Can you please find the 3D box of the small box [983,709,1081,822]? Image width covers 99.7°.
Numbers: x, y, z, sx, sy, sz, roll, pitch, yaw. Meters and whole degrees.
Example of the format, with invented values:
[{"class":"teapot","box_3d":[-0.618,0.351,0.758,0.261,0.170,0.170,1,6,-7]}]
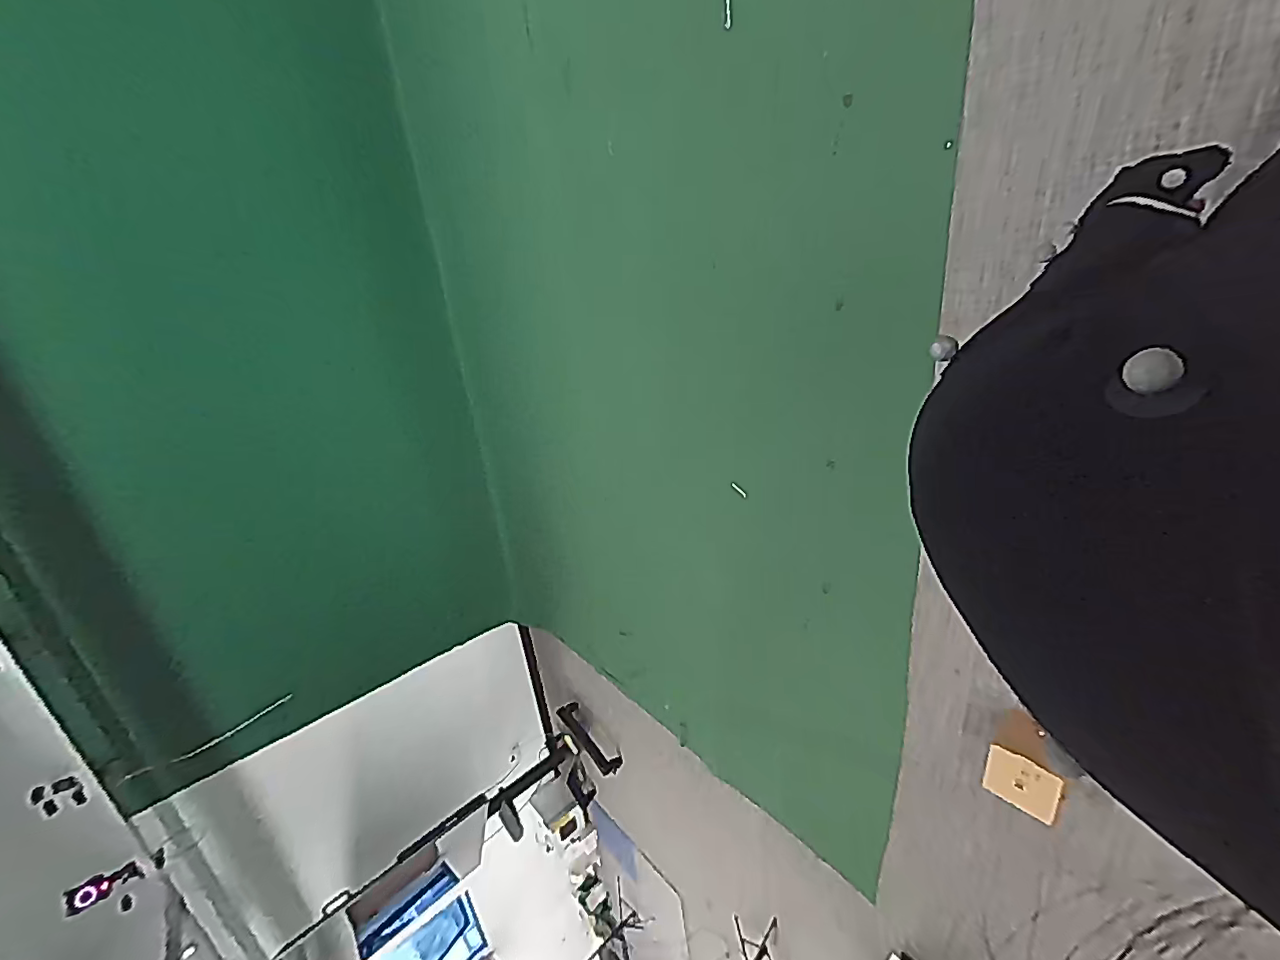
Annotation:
[{"class":"small box","box_3d":[1.078,0.776,1.487,0.168,0.176,0.179,20,123,46]}]
